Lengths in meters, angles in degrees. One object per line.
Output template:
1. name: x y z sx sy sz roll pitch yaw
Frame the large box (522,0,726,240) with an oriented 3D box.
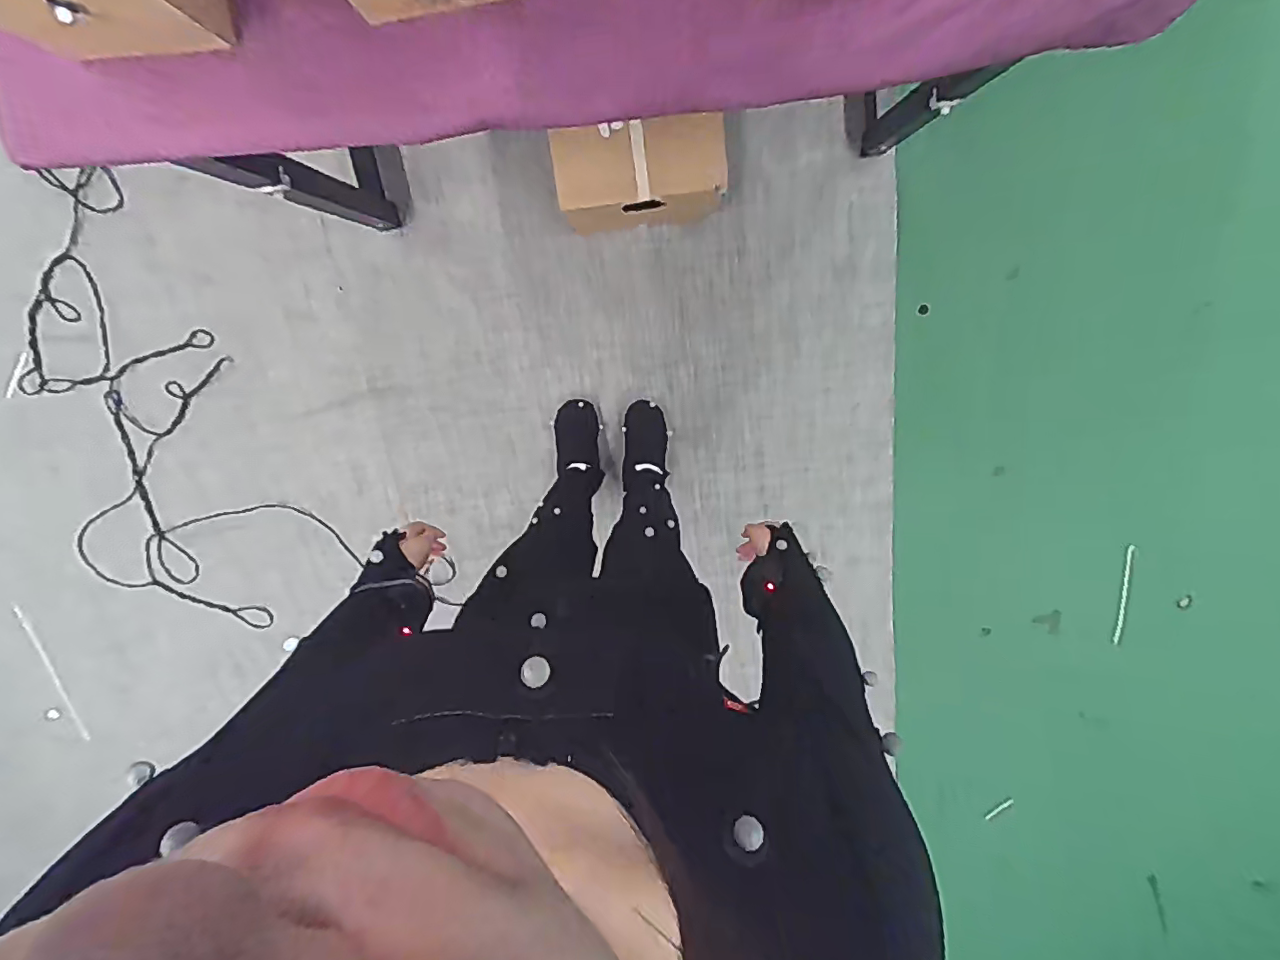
1. large box: -0.024 -0.731 1.077 0.320 0.320 0.408 -7 107 2
